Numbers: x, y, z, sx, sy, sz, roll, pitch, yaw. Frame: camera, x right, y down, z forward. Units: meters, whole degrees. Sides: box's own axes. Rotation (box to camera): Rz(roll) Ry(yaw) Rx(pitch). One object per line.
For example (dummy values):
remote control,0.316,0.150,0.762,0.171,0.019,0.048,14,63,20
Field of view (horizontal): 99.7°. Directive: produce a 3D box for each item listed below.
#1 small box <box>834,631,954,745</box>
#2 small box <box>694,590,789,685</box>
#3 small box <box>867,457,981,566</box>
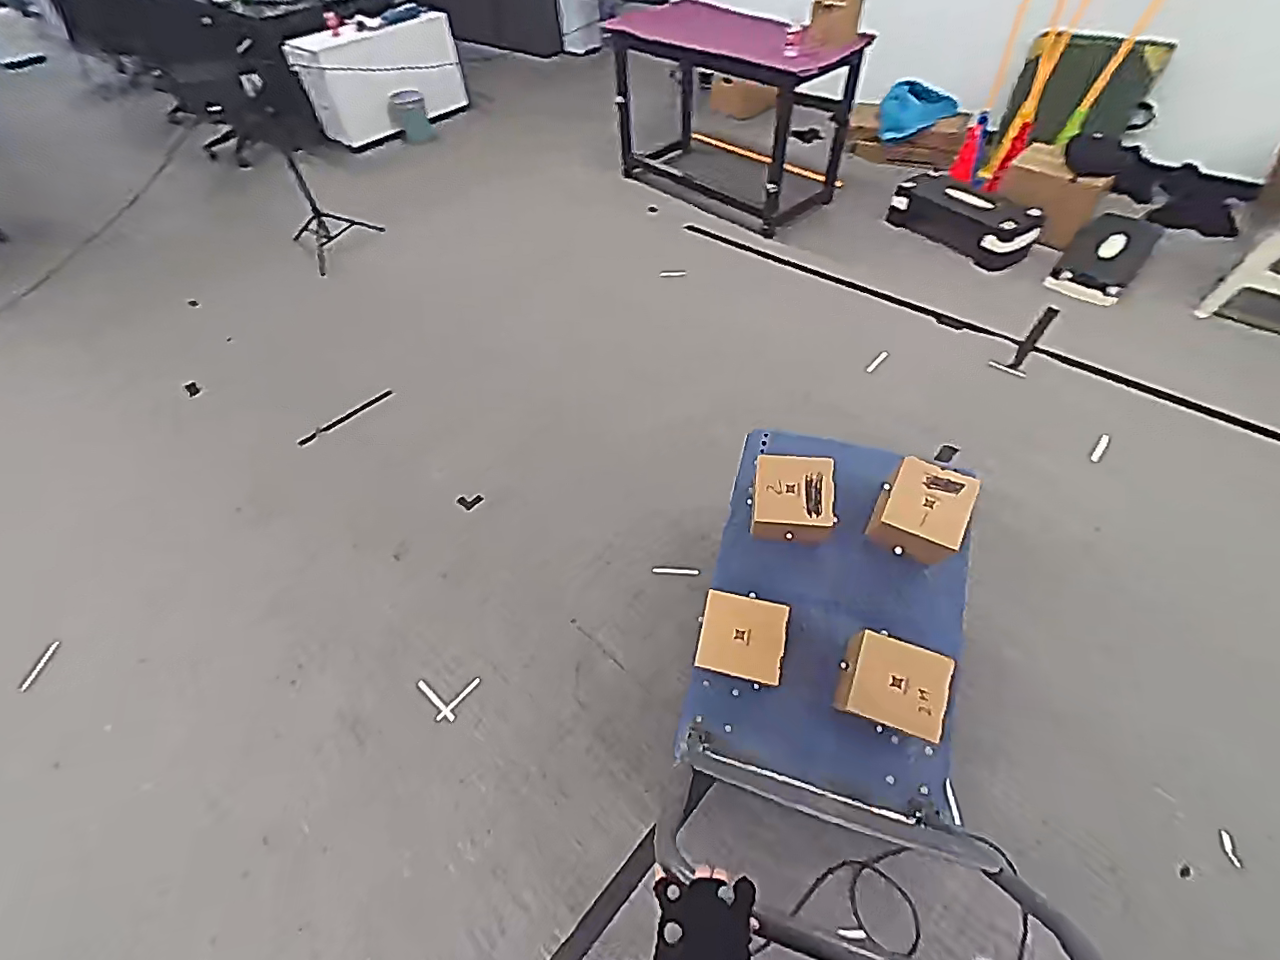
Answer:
small box,0.524,0.435,1.140,0.179,0.176,0.168,18,73,15
small box,0.226,0.358,1.216,0.179,0.176,0.168,11,71,11
small box,0.651,0.079,1.259,0.168,0.176,0.179,24,75,17
